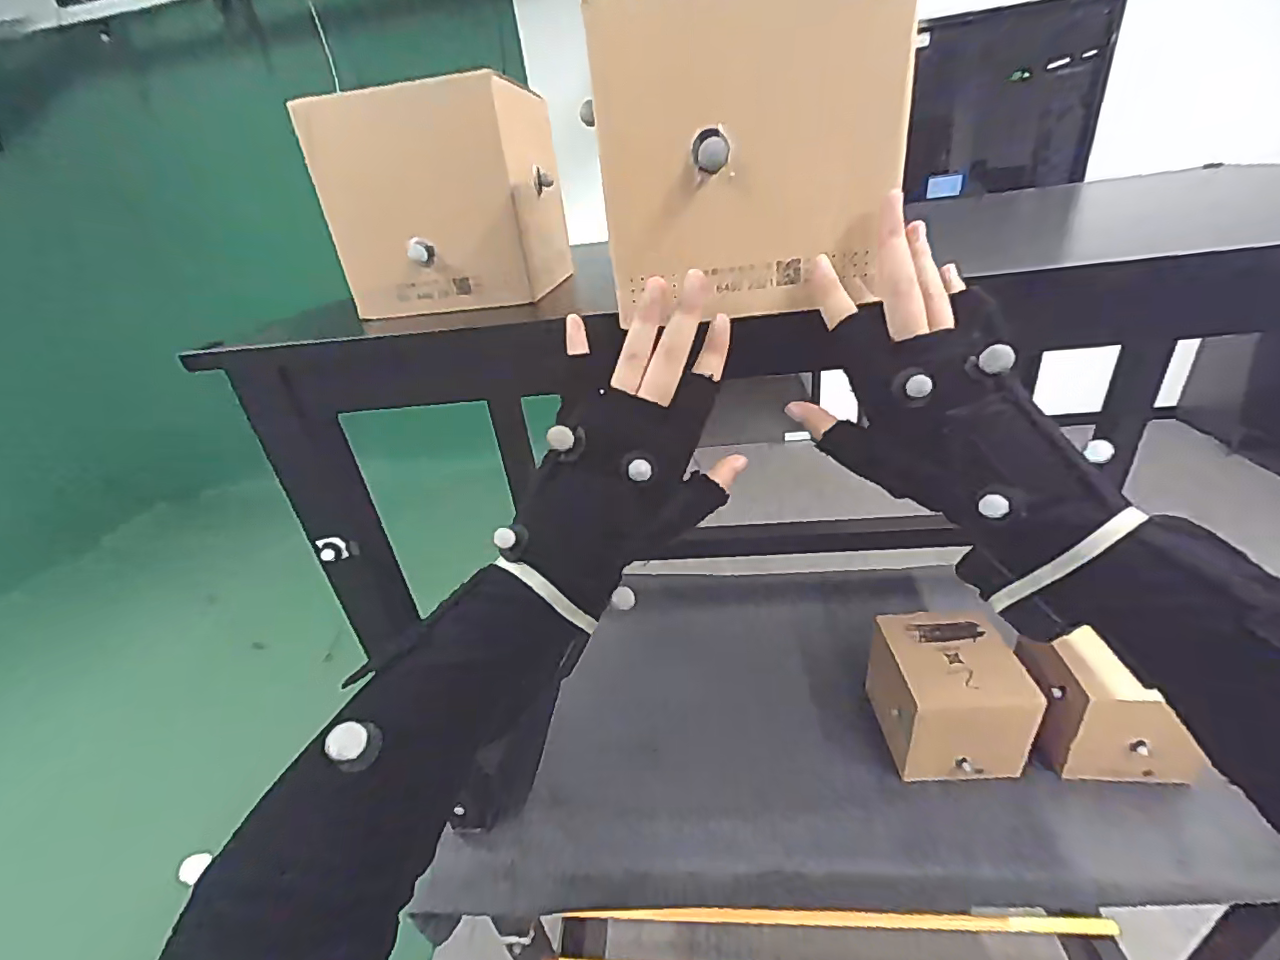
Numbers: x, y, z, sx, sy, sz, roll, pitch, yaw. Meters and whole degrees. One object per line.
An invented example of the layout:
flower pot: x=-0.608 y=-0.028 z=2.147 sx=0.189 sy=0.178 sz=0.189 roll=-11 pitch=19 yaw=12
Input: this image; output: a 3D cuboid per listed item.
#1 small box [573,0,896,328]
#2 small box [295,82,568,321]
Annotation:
small box: x=0.060 y=-0.207 z=0.372 sx=0.168 sy=0.176 sz=0.179 roll=-5 pitch=28 yaw=5
small box: x=-0.174 y=-0.258 z=0.519 sx=0.168 sy=0.176 sz=0.179 roll=-3 pitch=29 yaw=8
